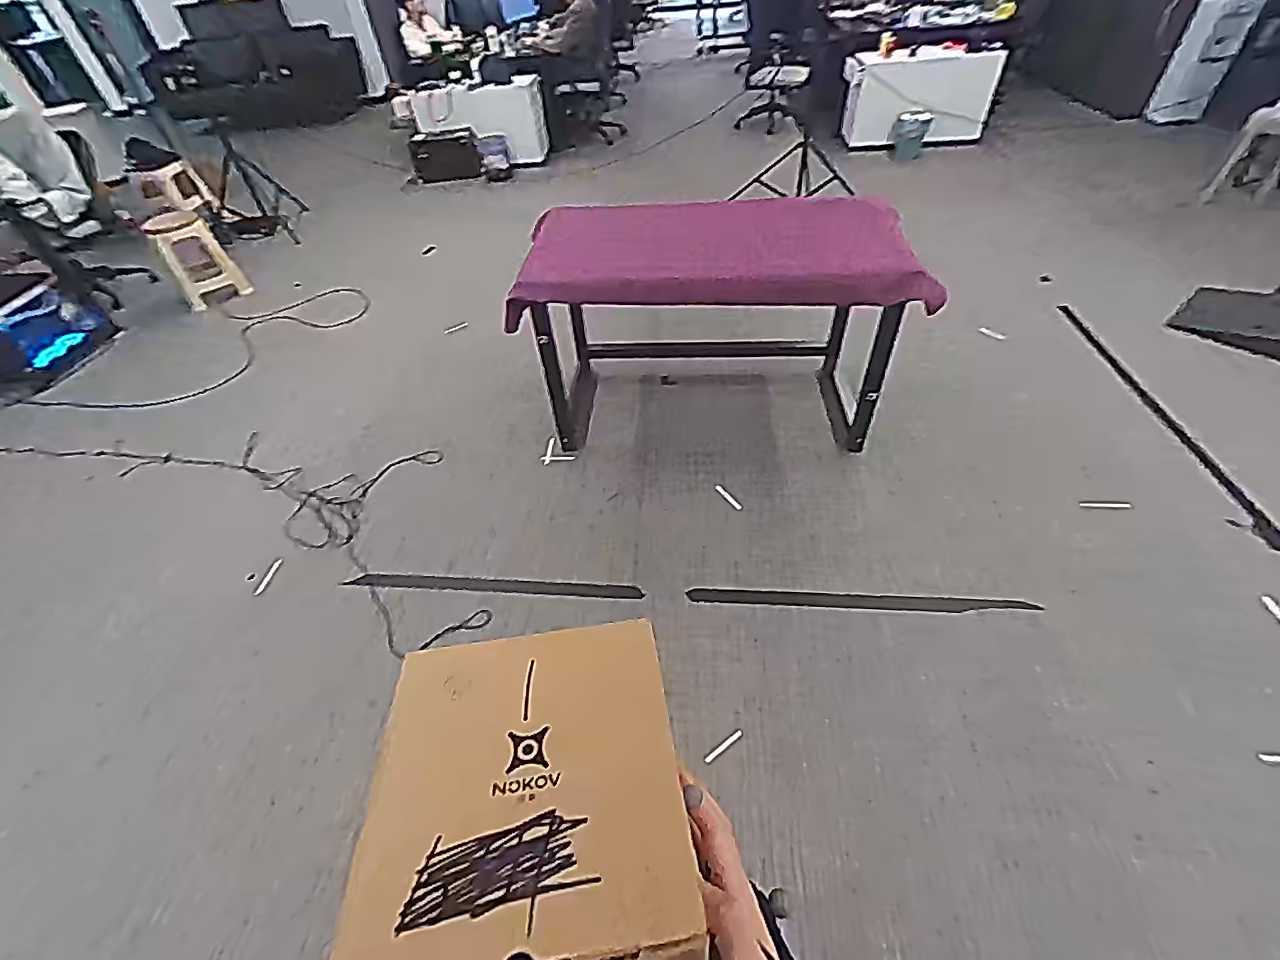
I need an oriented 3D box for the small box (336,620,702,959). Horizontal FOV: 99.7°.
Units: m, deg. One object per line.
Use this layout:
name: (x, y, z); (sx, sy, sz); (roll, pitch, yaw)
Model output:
small box: (-0.055, 0.220, 0.344); (0.168, 0.176, 0.179); (-7, 37, -4)
